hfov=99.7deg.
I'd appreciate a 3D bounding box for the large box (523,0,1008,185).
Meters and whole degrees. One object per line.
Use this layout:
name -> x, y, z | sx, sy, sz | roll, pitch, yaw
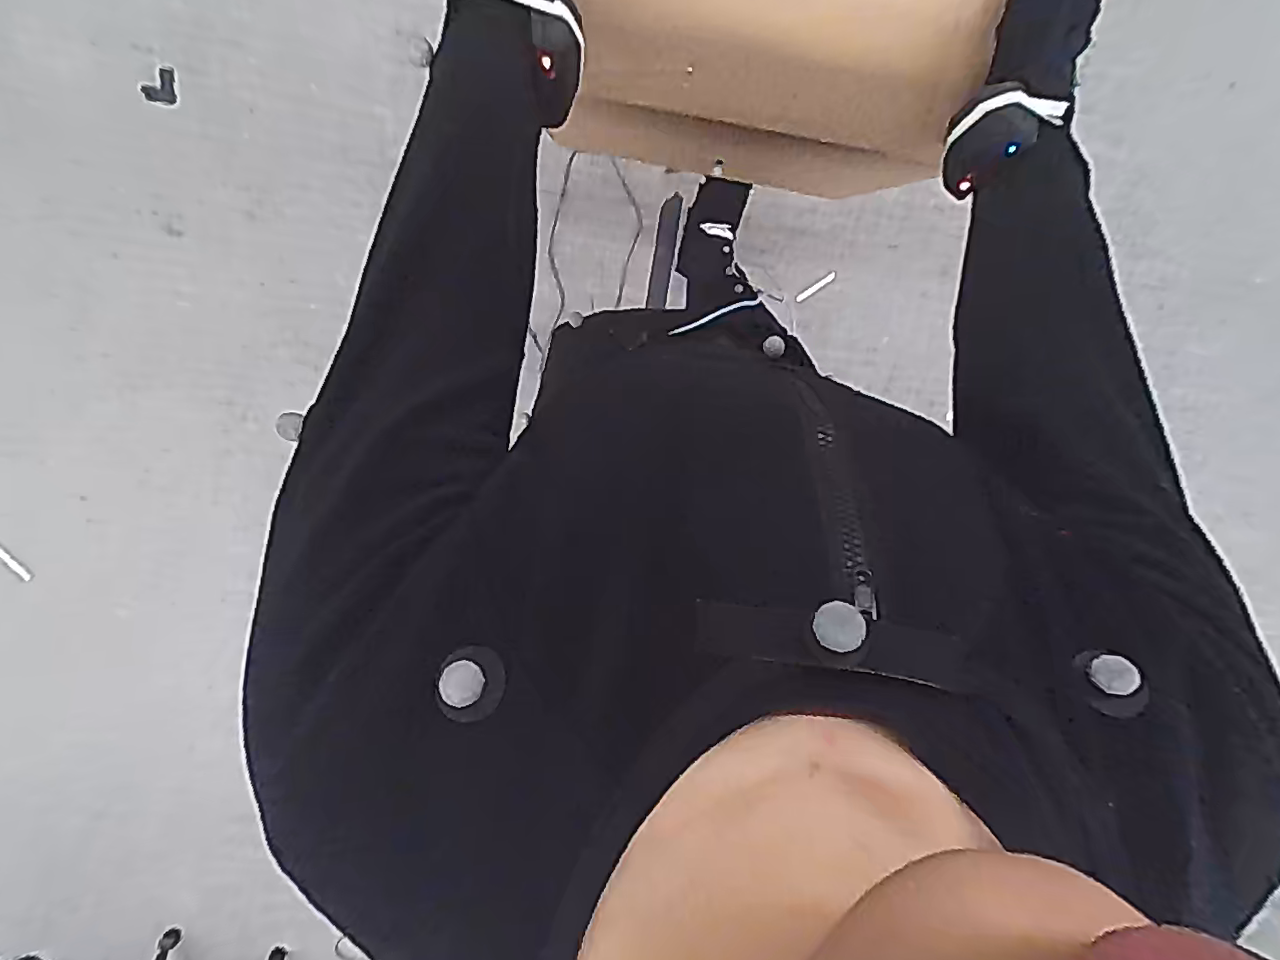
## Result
large box -> 0.115, -0.517, 0.558 | 0.408, 0.320, 0.320 | 8, 112, -5
